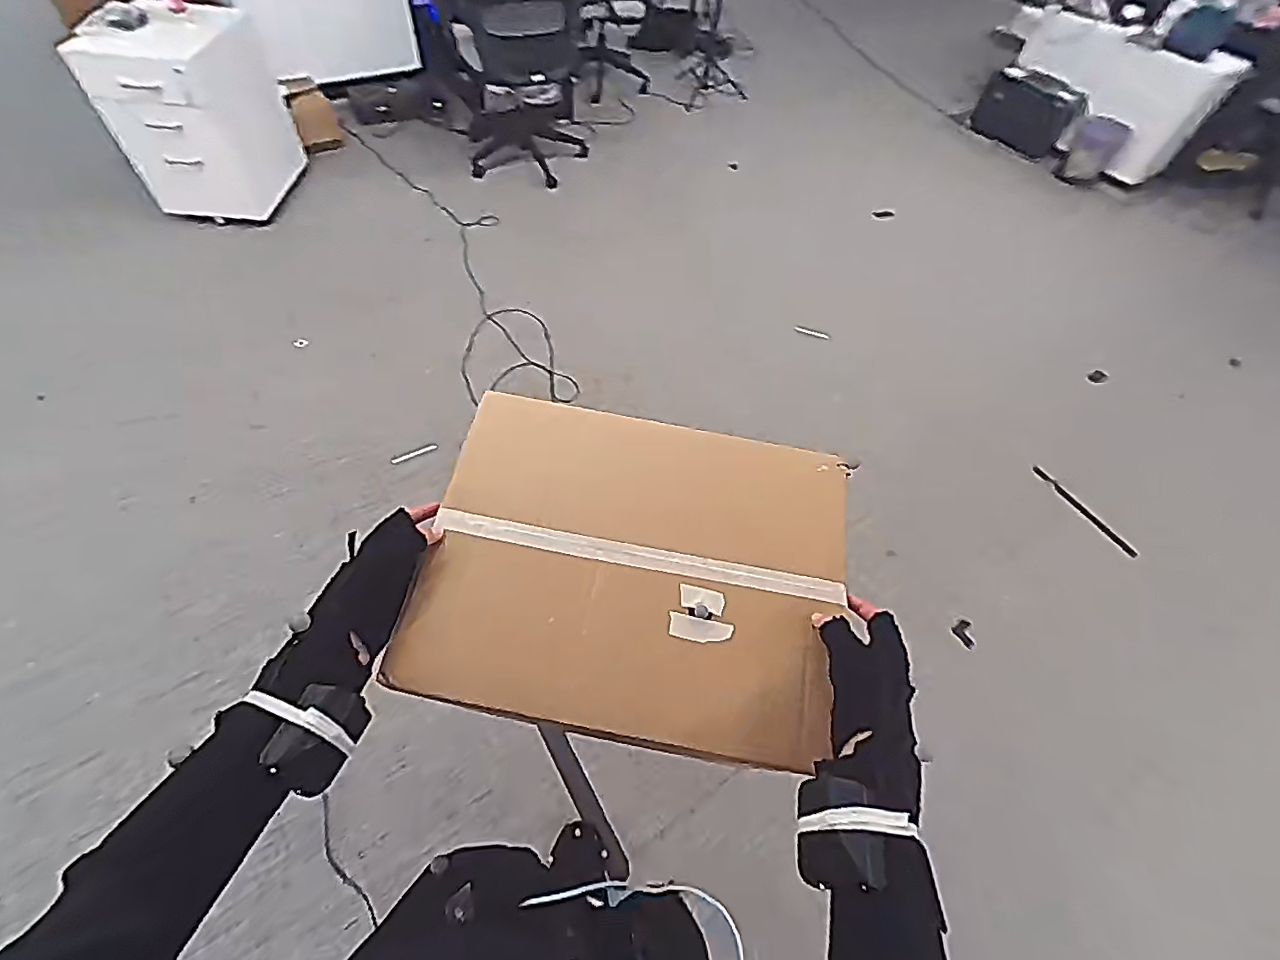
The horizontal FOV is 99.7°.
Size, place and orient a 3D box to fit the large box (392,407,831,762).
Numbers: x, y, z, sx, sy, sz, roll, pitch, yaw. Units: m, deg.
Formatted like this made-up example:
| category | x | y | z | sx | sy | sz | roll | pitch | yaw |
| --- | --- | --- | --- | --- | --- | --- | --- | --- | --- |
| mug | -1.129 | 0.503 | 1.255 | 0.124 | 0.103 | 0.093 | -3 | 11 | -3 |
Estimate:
| category | x | y | z | sx | sy | sz | roll | pitch | yaw |
| --- | --- | --- | --- | --- | --- | --- | --- | --- | --- |
| large box | -0.016 | 0.148 | 0.676 | 0.408 | 0.320 | 0.320 | 11 | 64 | 1 |
